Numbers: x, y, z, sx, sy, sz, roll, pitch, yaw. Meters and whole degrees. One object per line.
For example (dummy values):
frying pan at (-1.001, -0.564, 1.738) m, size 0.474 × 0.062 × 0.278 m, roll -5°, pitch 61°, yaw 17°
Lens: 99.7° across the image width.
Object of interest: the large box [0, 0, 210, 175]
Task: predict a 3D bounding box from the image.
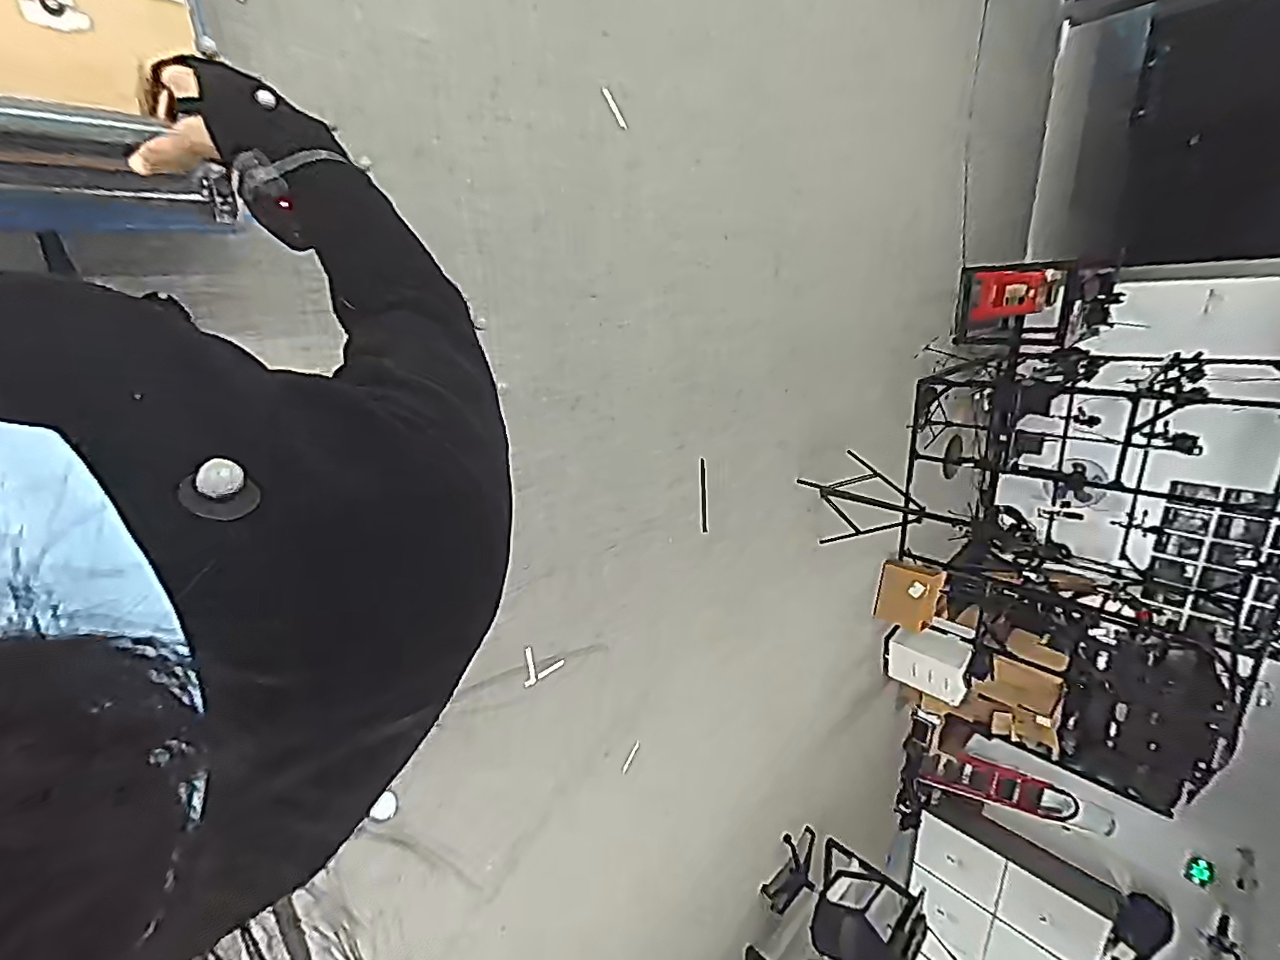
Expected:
large box at (-0.859, -0.603, 0.684) m, size 0.408 × 0.320 × 0.320 m, roll -21°, pitch 116°, yaw -42°
